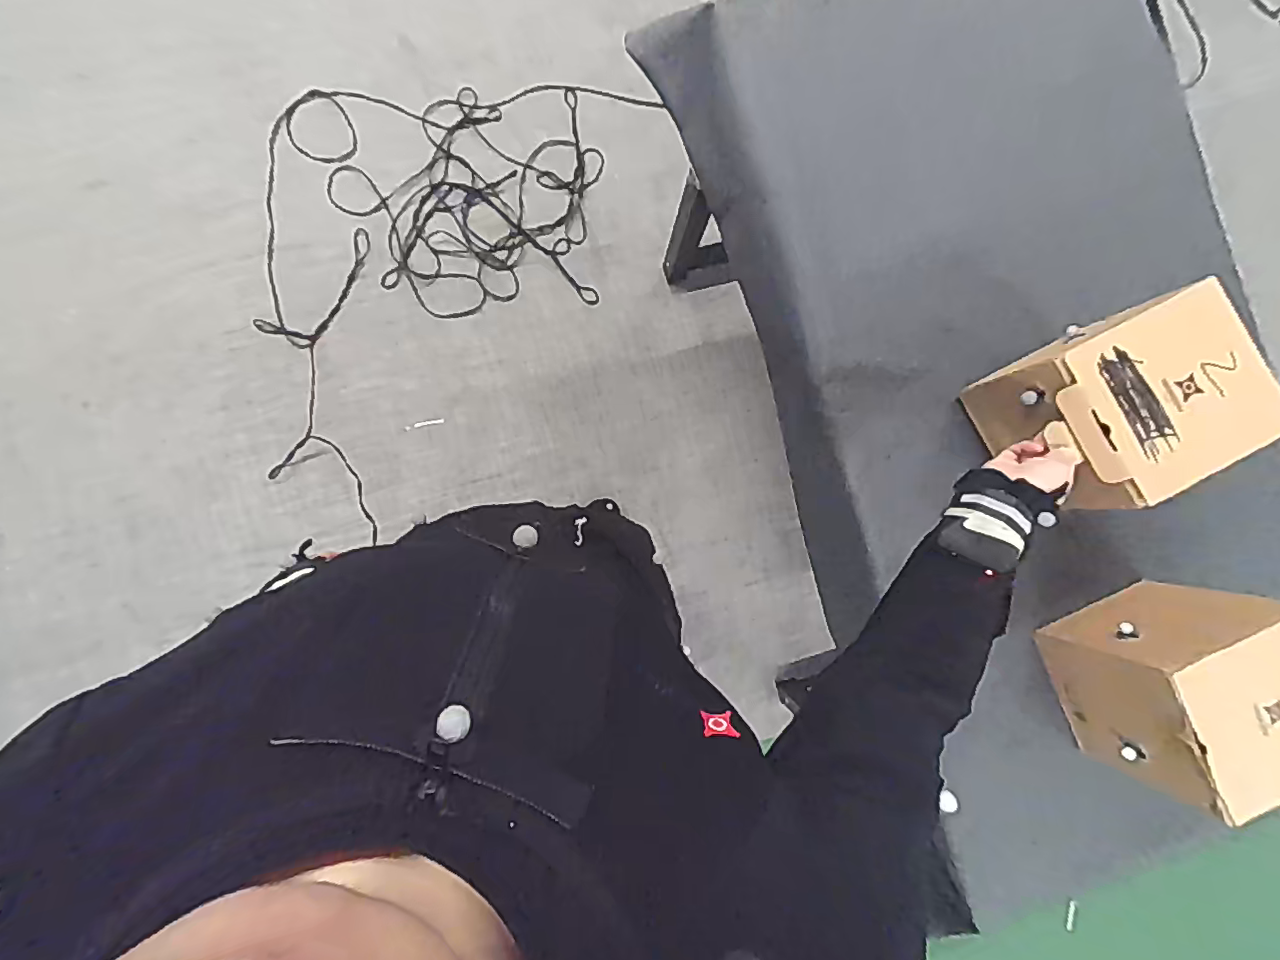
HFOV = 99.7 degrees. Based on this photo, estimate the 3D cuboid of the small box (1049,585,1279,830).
[{"bbox_3d":[0.610,0.235,0.607,0.179,0.176,0.168,-23,91,-7],"label":"small box"}]
